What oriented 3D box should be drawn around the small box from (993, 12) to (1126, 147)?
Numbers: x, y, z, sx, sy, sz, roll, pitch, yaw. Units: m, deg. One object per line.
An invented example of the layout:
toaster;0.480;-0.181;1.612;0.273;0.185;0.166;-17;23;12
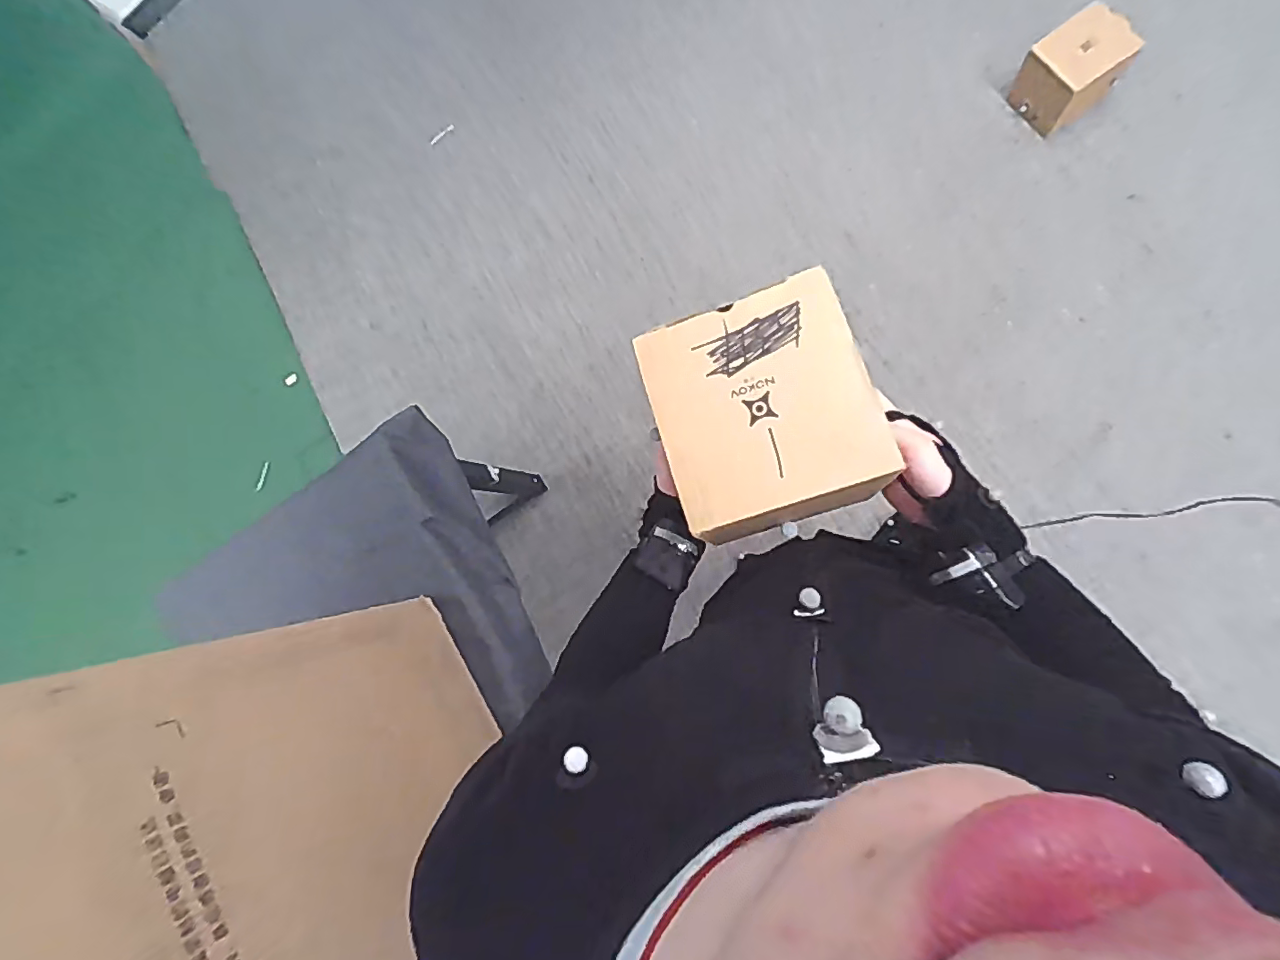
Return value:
small box;1.055;-1.011;1.379;0.179;0.176;0.168;-34;77;10
